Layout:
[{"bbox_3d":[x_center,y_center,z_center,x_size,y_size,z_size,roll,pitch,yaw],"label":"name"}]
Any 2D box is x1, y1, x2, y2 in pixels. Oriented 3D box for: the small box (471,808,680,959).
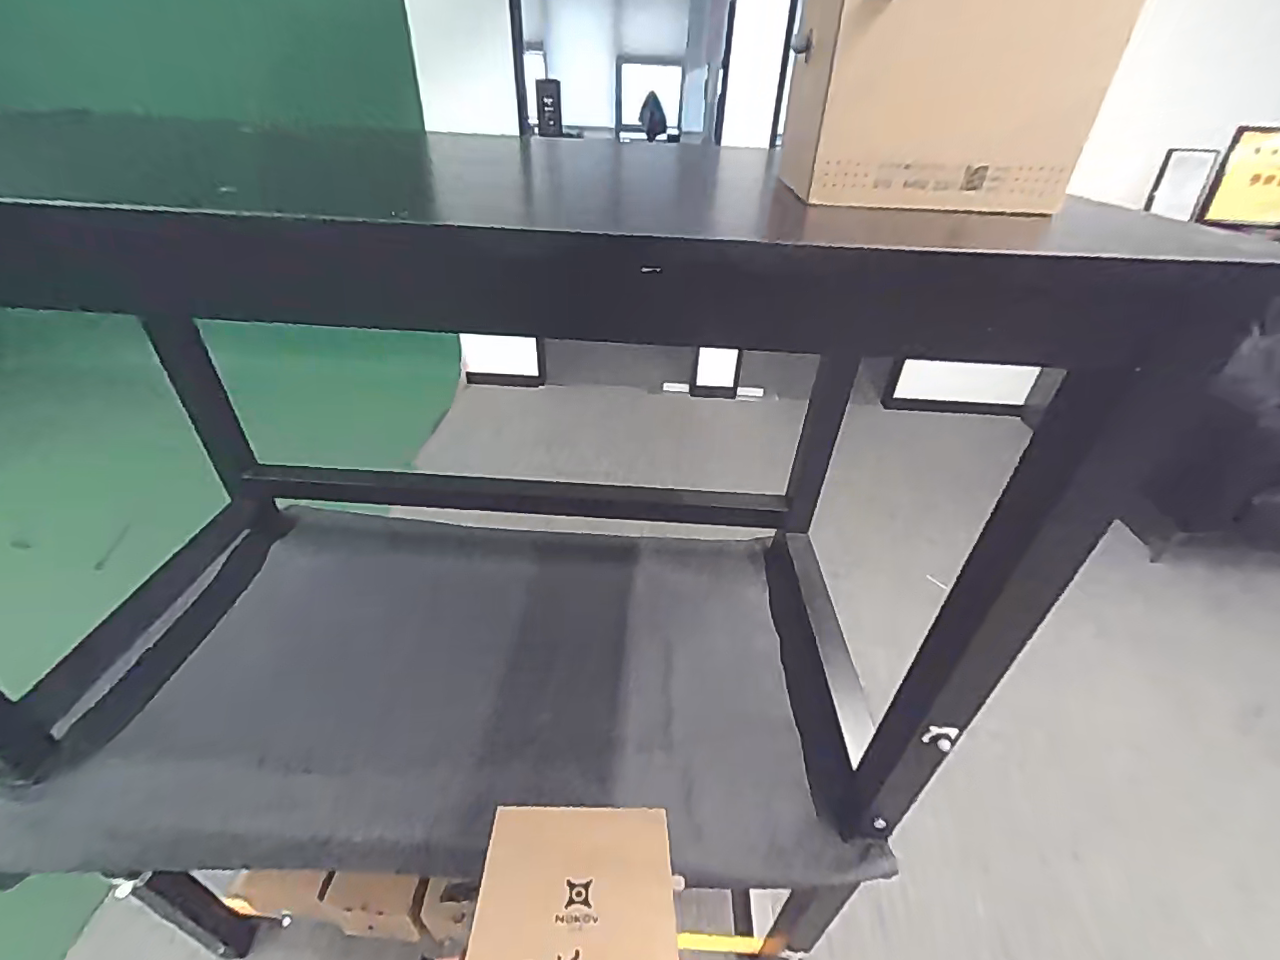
[{"bbox_3d":[-0.057,0.434,0.485,0.168,0.176,0.179,3,22,-3],"label":"small box"}]
